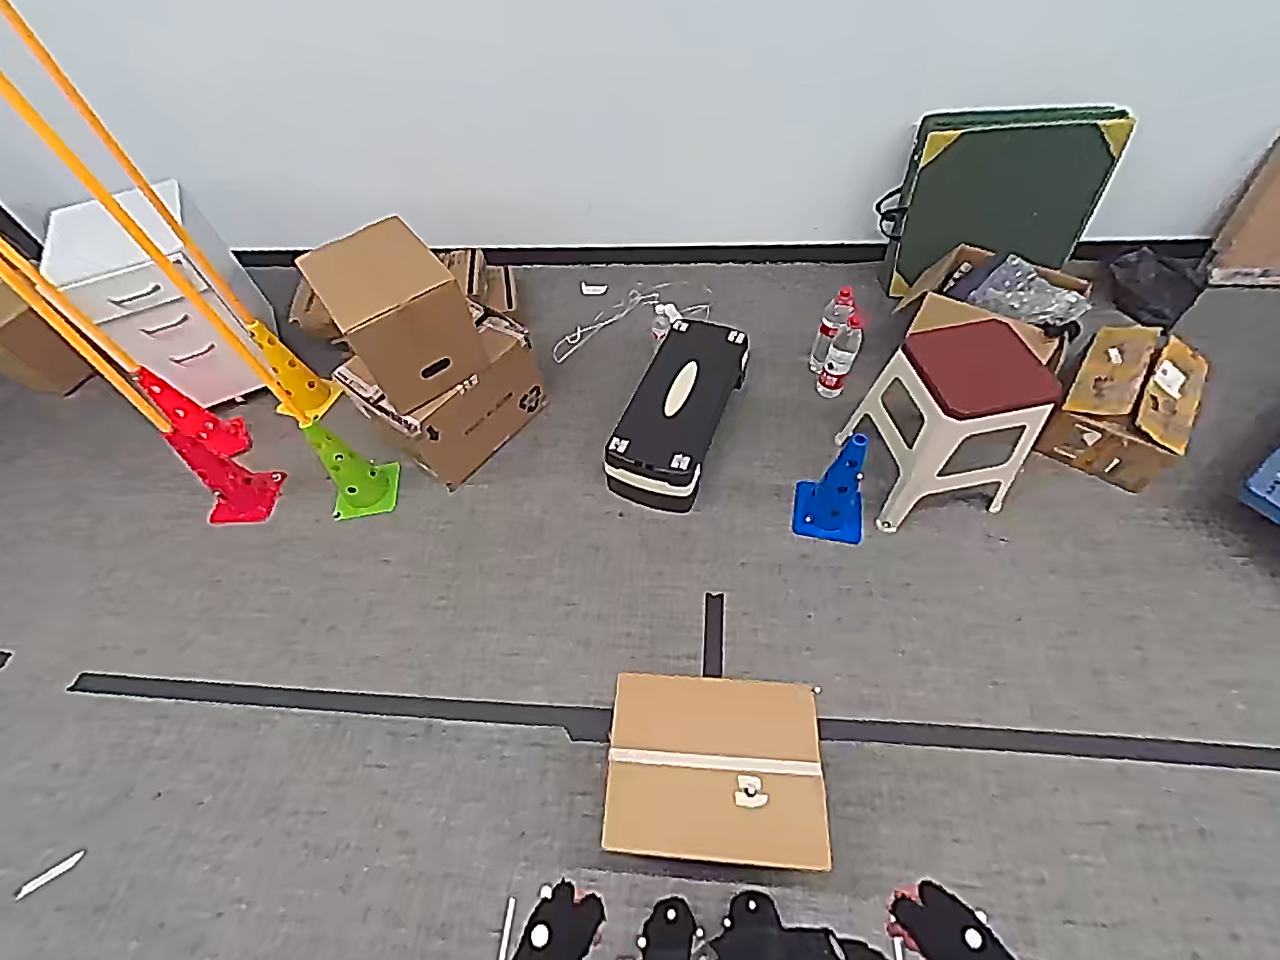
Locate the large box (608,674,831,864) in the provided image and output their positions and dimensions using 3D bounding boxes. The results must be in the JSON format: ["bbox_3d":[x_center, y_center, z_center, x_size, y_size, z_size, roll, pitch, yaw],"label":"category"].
[{"bbox_3d":[0.152,0.624,1.162,0.408,0.320,0.320,2,56,4],"label":"large box"}]
